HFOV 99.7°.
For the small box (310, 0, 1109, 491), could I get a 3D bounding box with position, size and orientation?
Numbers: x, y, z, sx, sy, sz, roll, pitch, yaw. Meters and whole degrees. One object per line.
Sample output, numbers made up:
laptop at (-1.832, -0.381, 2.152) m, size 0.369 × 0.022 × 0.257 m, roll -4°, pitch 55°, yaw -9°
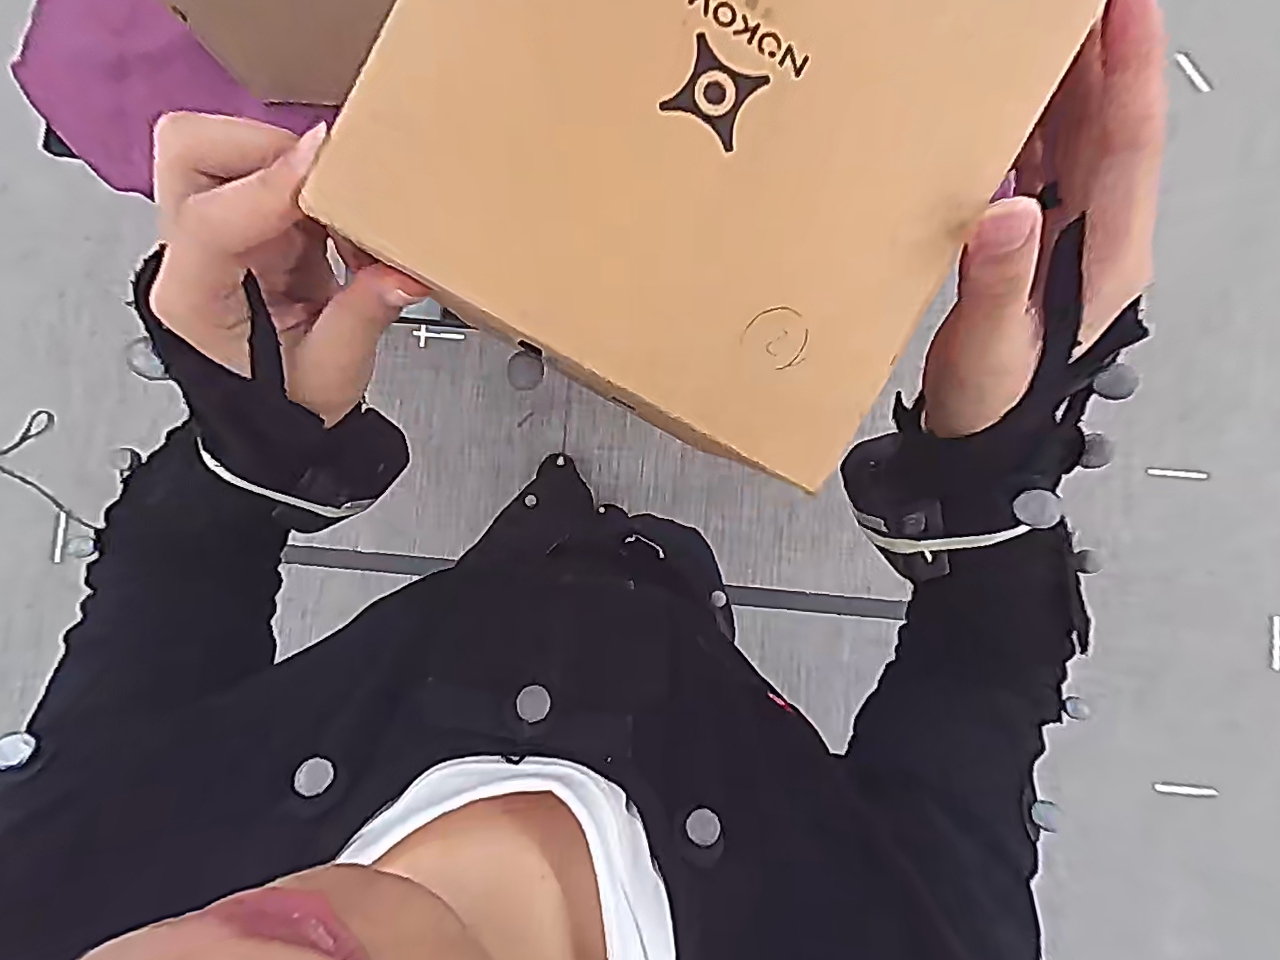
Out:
small box at (0.018, -0.116, 0.225) m, size 0.168 × 0.176 × 0.179 m, roll 29°, pitch 93°, yaw -6°
